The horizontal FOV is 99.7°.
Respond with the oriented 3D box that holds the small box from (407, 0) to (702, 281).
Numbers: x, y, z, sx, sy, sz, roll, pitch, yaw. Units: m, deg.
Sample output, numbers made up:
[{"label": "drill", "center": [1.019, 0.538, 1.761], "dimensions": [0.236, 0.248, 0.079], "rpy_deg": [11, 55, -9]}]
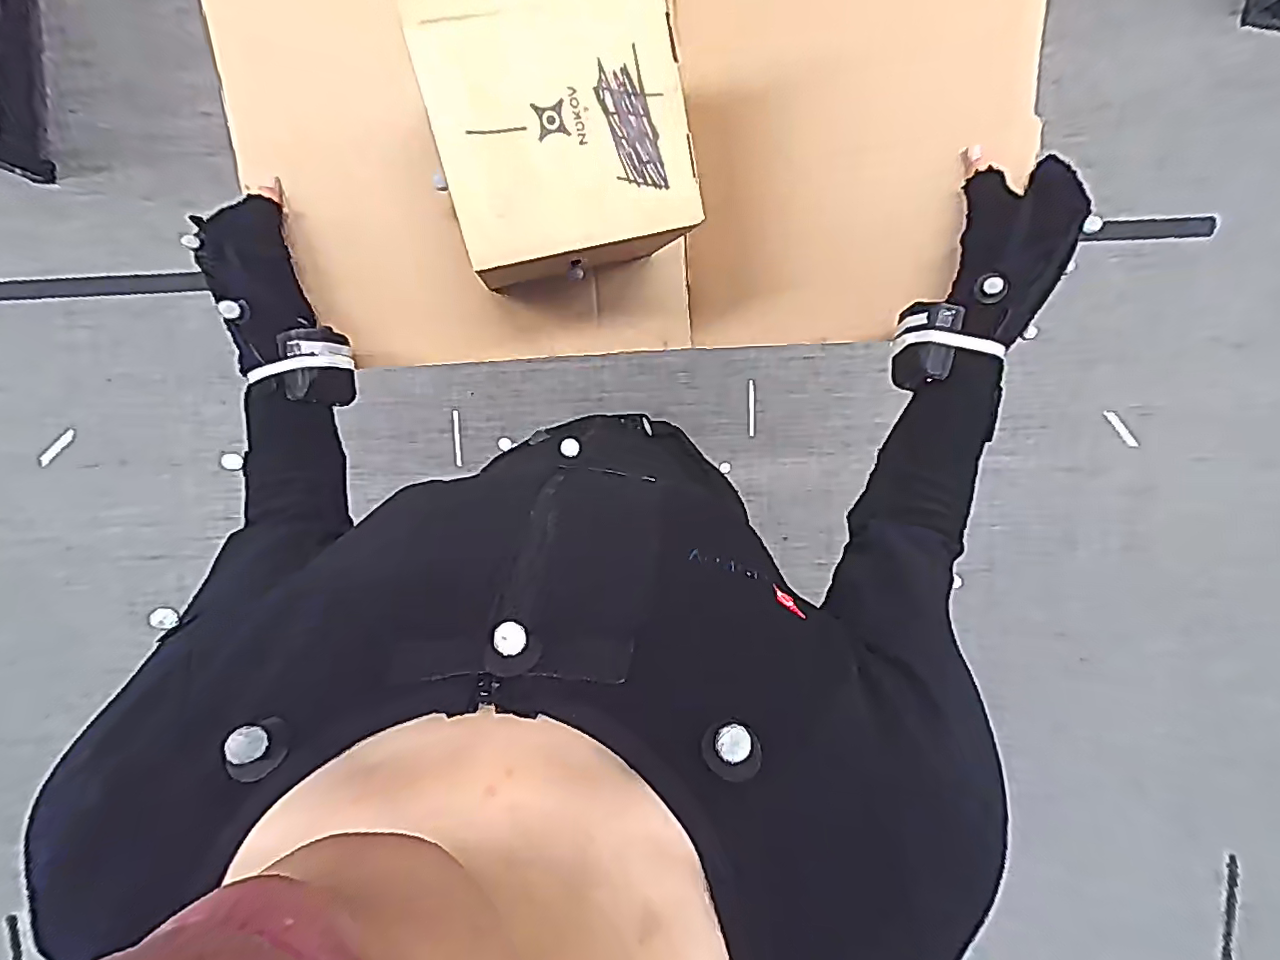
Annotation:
[{"label": "small box", "center": [-0.067, -0.272, 0.452], "dimensions": [0.179, 0.176, 0.168], "rpy_deg": [-15, 108, -7]}]
